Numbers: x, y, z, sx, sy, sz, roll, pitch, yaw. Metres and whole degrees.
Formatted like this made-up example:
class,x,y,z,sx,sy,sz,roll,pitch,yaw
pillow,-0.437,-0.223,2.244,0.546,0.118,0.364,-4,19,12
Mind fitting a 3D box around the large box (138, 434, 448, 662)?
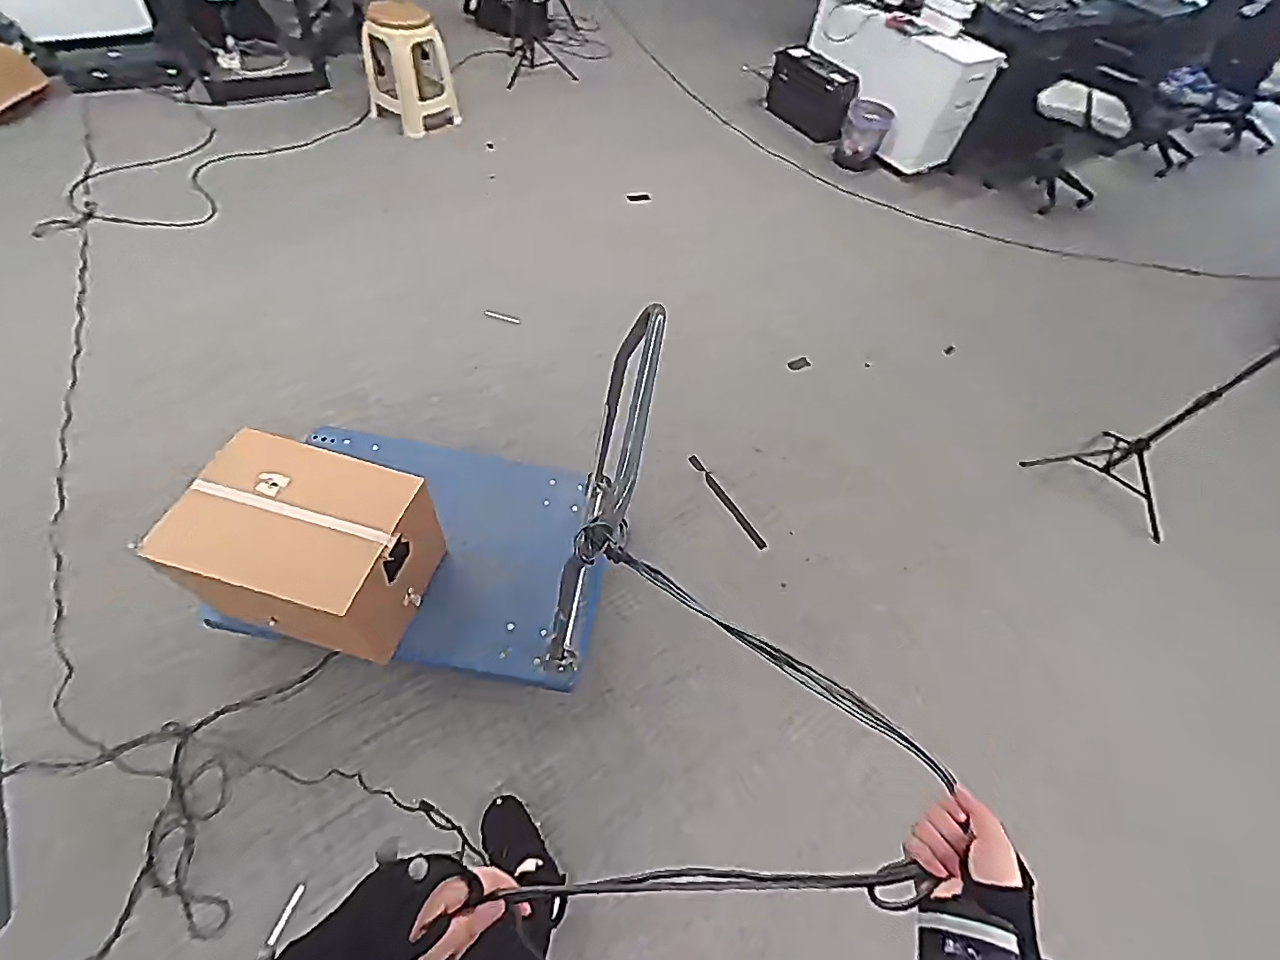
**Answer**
class,x,y,z,sx,sy,sz,roll,pitch,yaw
large box,-0.685,0.155,1.160,0.408,0.320,0.320,15,54,2
